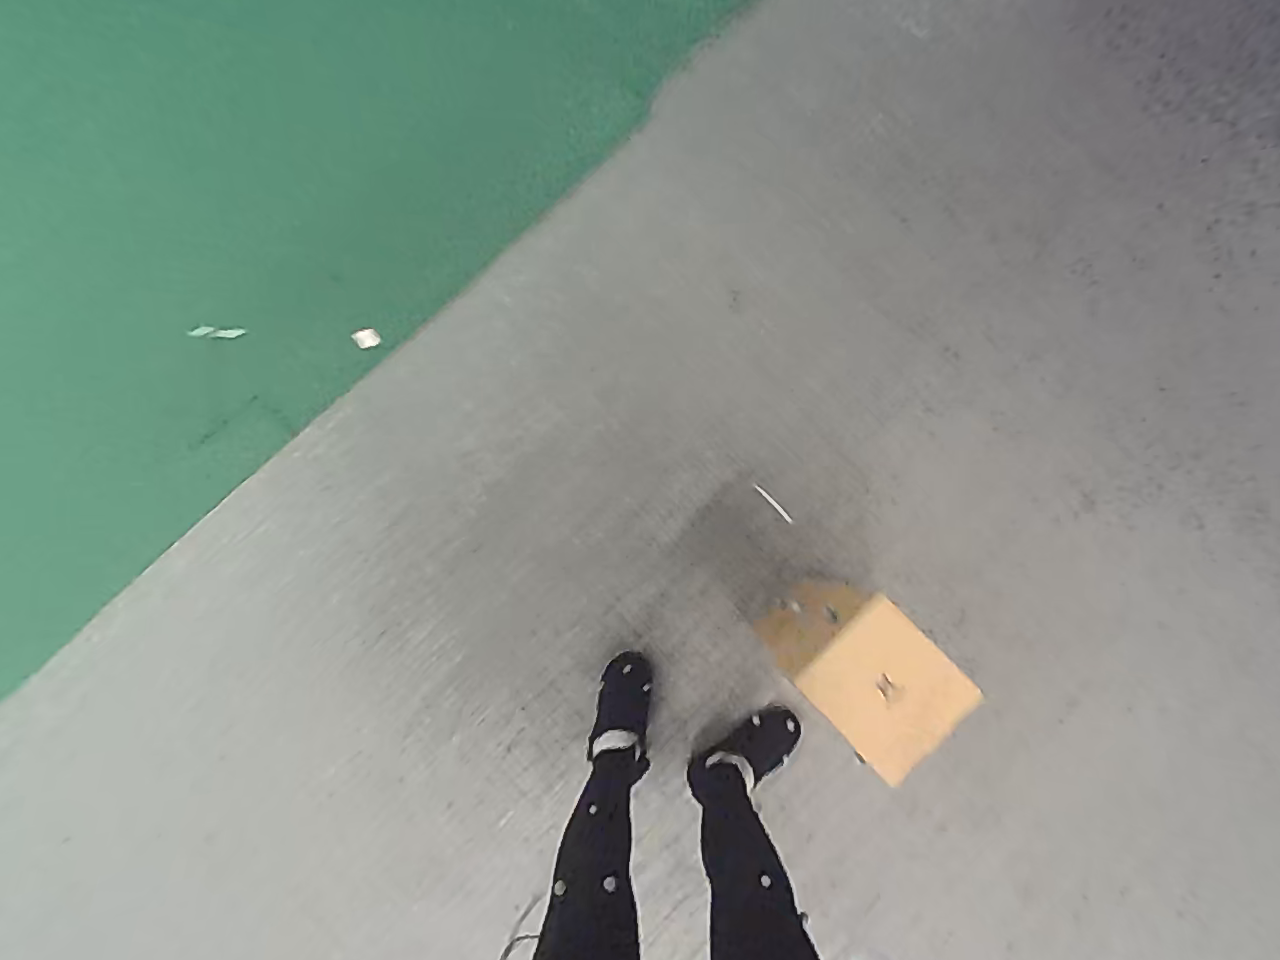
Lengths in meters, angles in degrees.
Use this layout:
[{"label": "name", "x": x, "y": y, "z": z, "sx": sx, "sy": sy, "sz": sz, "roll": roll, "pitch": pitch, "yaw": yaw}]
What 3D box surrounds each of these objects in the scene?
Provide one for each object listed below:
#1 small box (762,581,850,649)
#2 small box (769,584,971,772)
[{"label": "small box", "x": 0.337, "y": 0.289, "z": 0.936, "sx": 0.168, "sy": 0.176, "sz": 0.179, "roll": -45, "pitch": 81, "yaw": -4}, {"label": "small box", "x": 0.310, "y": 0.266, "z": 0.776, "sx": 0.168, "sy": 0.176, "sz": 0.179, "roll": -43, "pitch": 83, "yaw": -3}]
